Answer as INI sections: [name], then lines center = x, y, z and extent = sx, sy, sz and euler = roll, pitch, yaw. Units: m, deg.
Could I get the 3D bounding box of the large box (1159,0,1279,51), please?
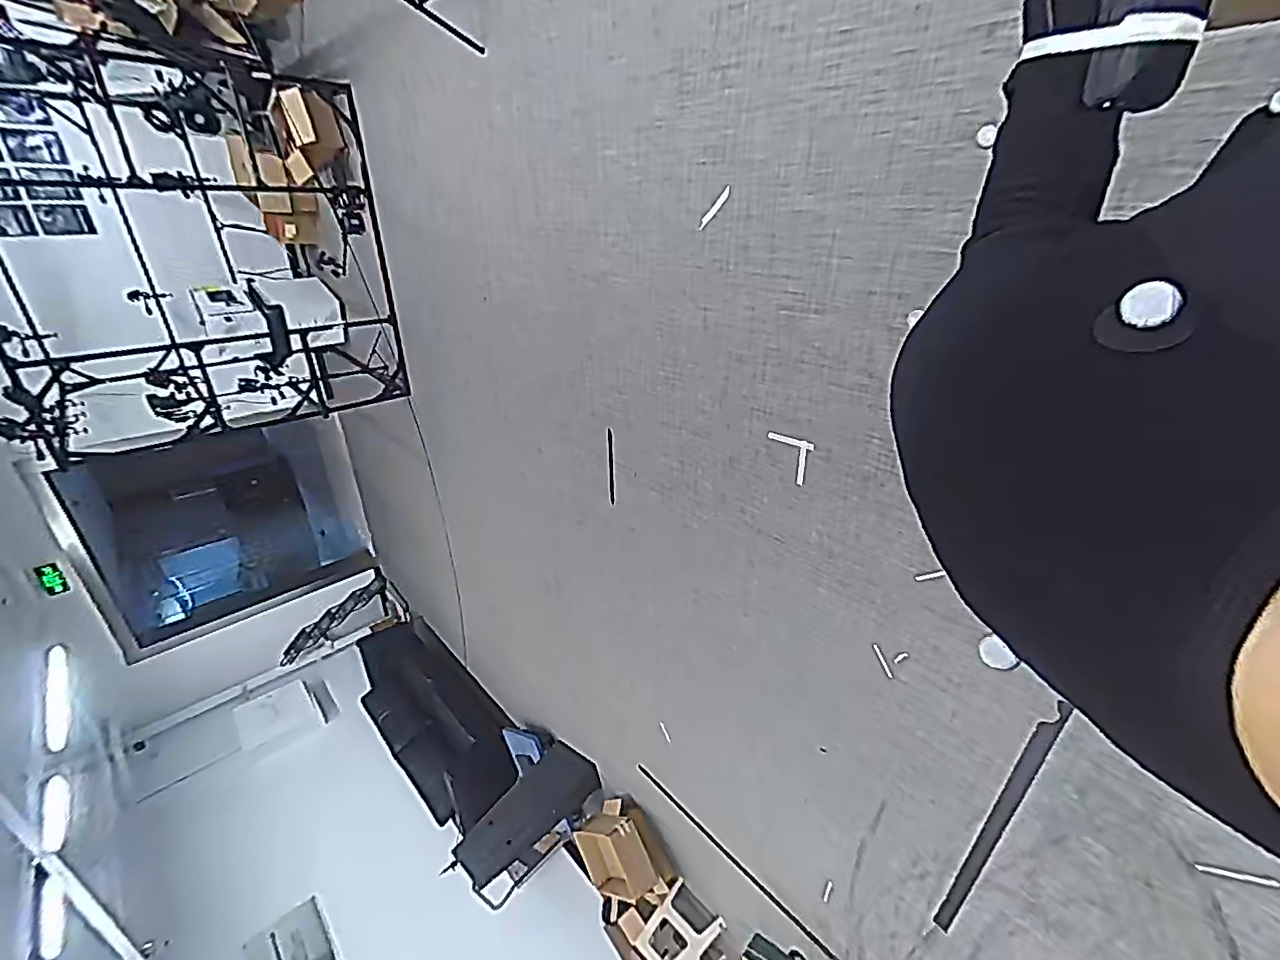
[large box]
center = 0.535, -0.430, 0.224
extent = 0.408, 0.320, 0.320
euler = 21, 127, 39
